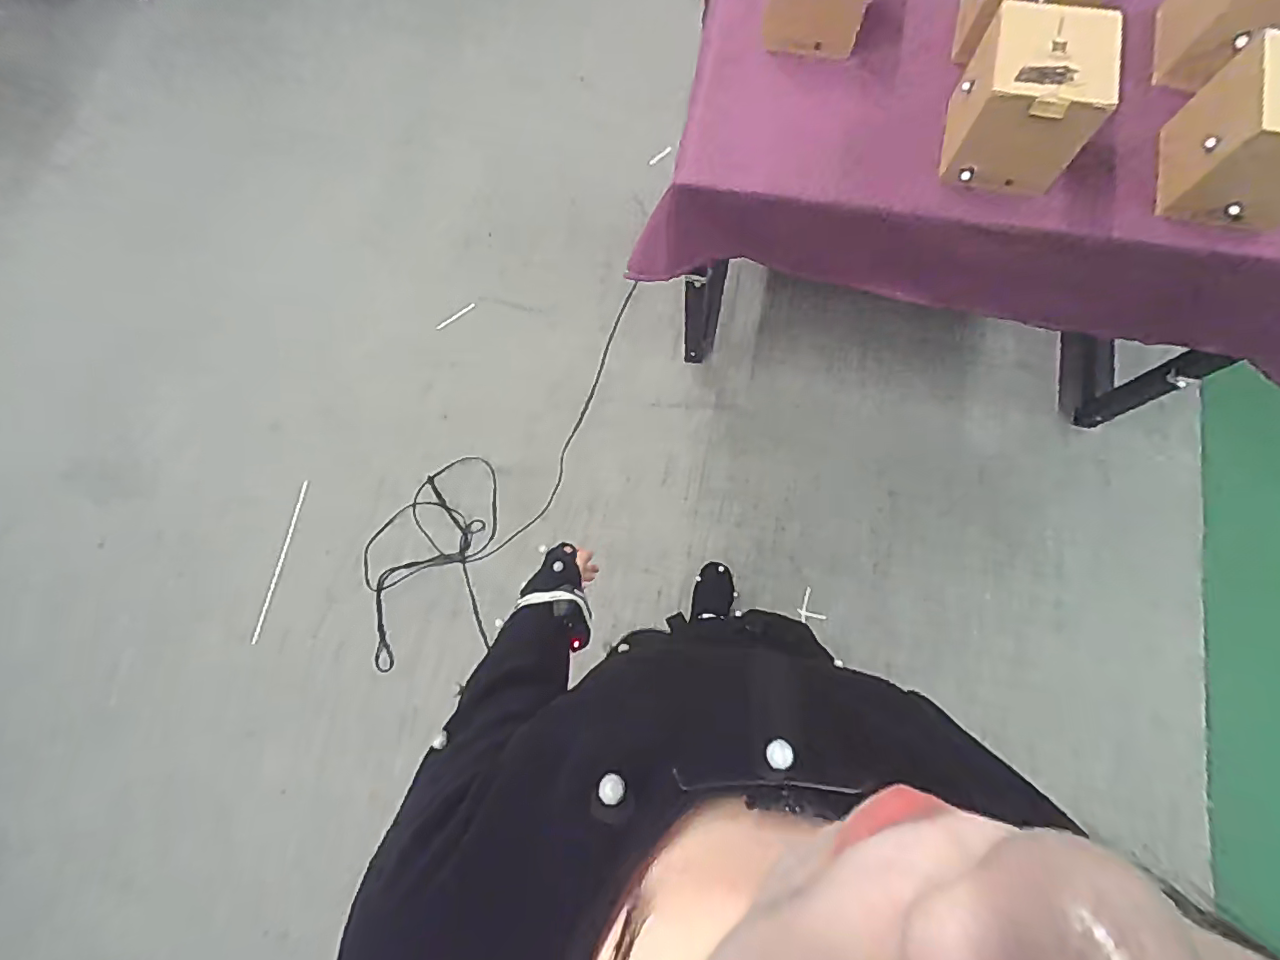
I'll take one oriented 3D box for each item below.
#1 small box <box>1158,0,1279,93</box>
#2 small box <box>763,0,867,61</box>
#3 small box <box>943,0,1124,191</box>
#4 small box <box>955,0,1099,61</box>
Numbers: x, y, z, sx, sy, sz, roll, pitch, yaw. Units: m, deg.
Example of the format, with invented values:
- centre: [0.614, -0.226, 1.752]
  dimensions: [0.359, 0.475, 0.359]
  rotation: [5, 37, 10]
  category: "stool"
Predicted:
- centre: [0.973, -0.756, 0.851]
  dimensions: [0.168, 0.176, 0.179]
  rotation: [14, 77, 8]
  category: "small box"
- centre: [0.317, -0.882, 0.936]
  dimensions: [0.168, 0.176, 0.179]
  rotation: [12, 77, 7]
  category: "small box"
- centre: [0.596, -0.586, 0.840]
  dimensions: [0.168, 0.176, 0.179]
  rotation: [12, 76, 7]
  category: "small box"
- centre: [0.655, -0.823, 0.895]
  dimensions: [0.179, 0.176, 0.168]
  rotation: [14, 78, 8]
  category: "small box"
